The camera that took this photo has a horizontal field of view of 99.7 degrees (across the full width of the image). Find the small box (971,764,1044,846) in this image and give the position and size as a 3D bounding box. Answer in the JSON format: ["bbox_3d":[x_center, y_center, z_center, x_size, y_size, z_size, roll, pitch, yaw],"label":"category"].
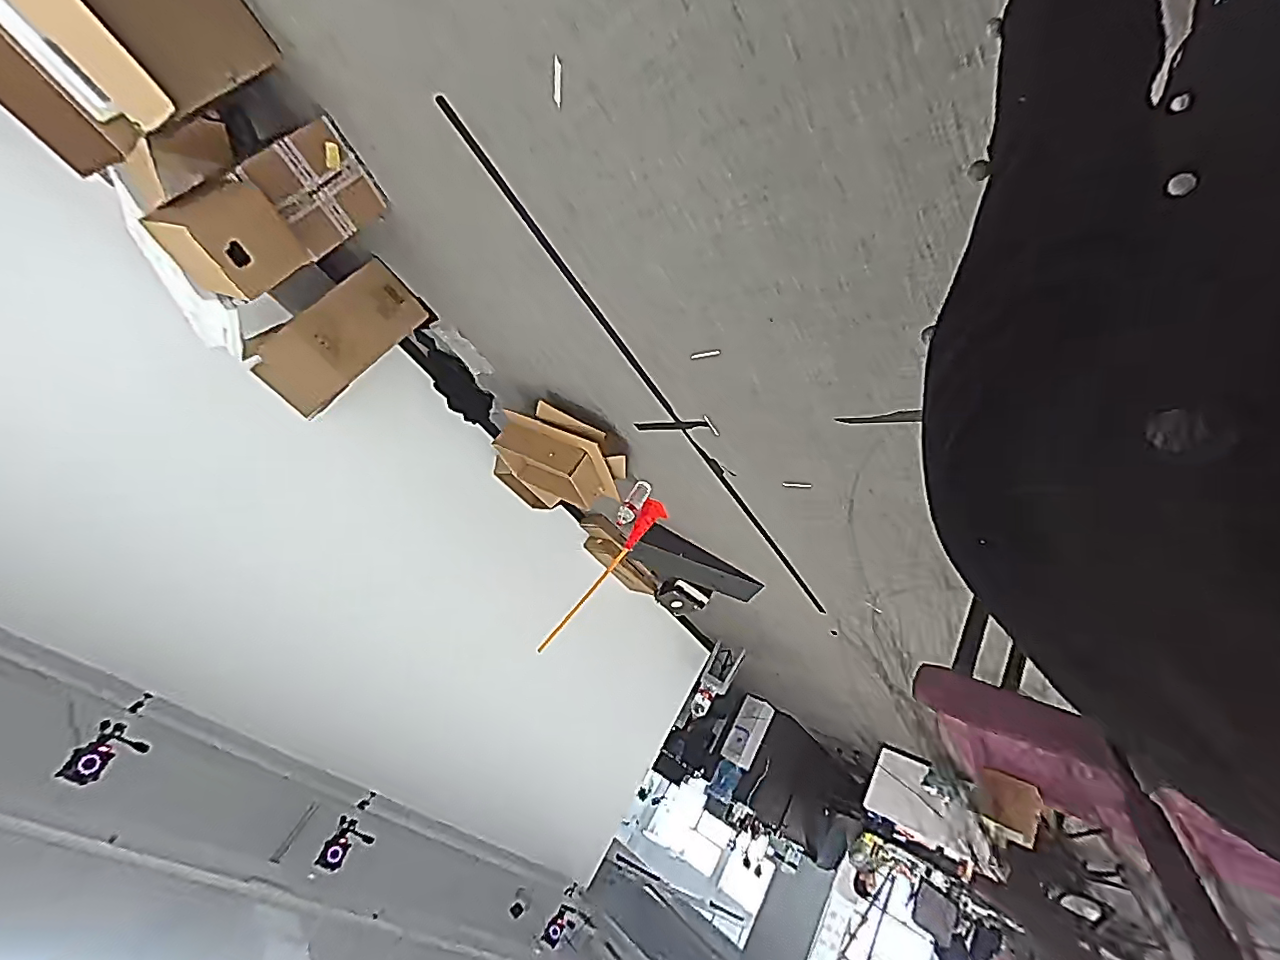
[{"bbox_3d":[1.302,1.140,1.906,0.179,0.176,0.168,5,143,49],"label":"small box"}]
